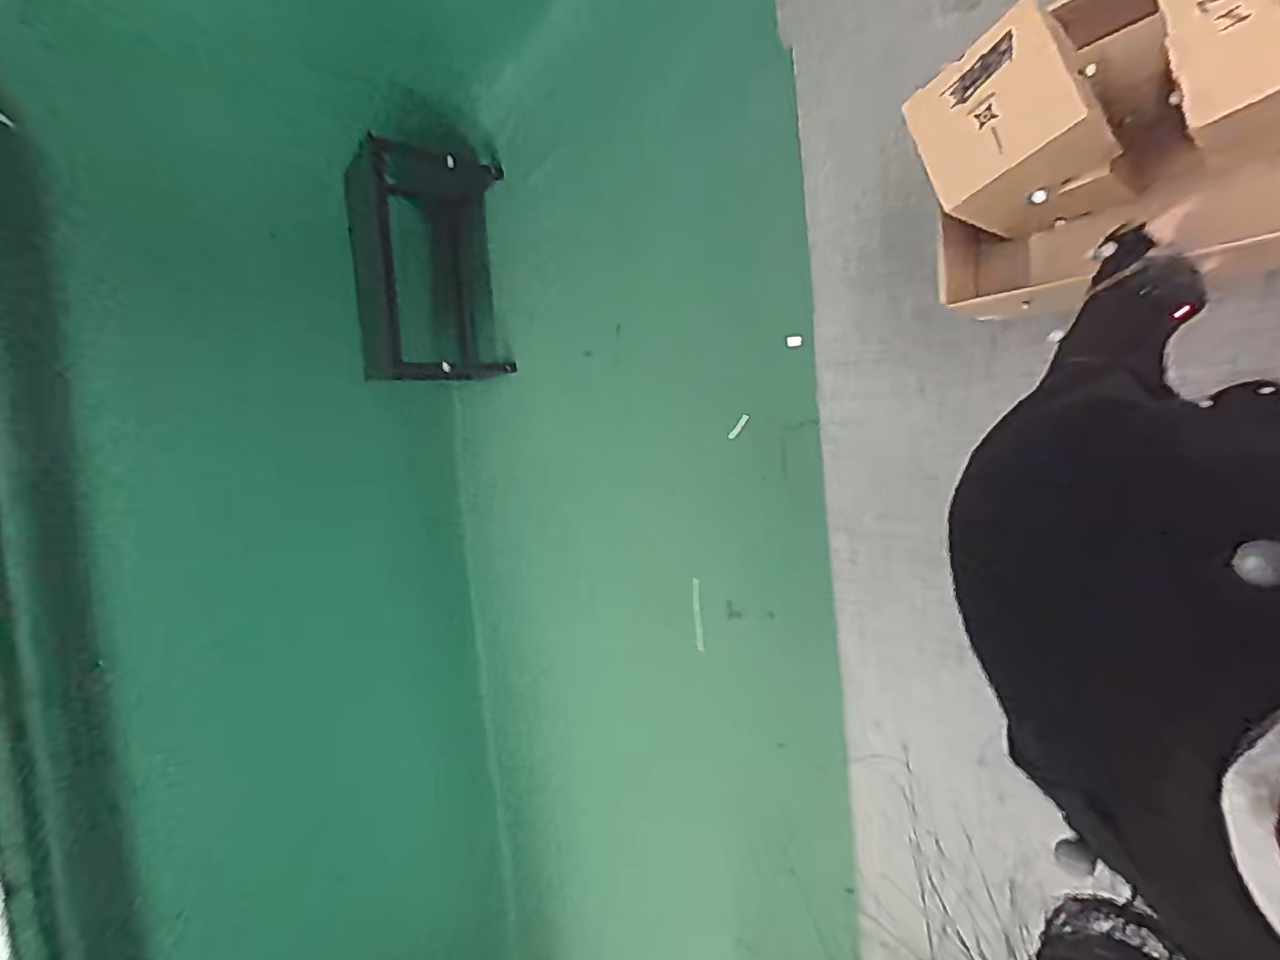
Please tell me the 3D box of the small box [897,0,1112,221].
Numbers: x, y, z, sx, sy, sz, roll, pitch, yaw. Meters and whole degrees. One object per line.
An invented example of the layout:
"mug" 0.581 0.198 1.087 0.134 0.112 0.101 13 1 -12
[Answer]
"small box" 0.487 -0.482 0.727 0.168 0.176 0.179 -27 76 51

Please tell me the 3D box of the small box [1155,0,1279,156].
"small box" 0.648 -0.460 0.529 0.179 0.176 0.168 -13 85 53
